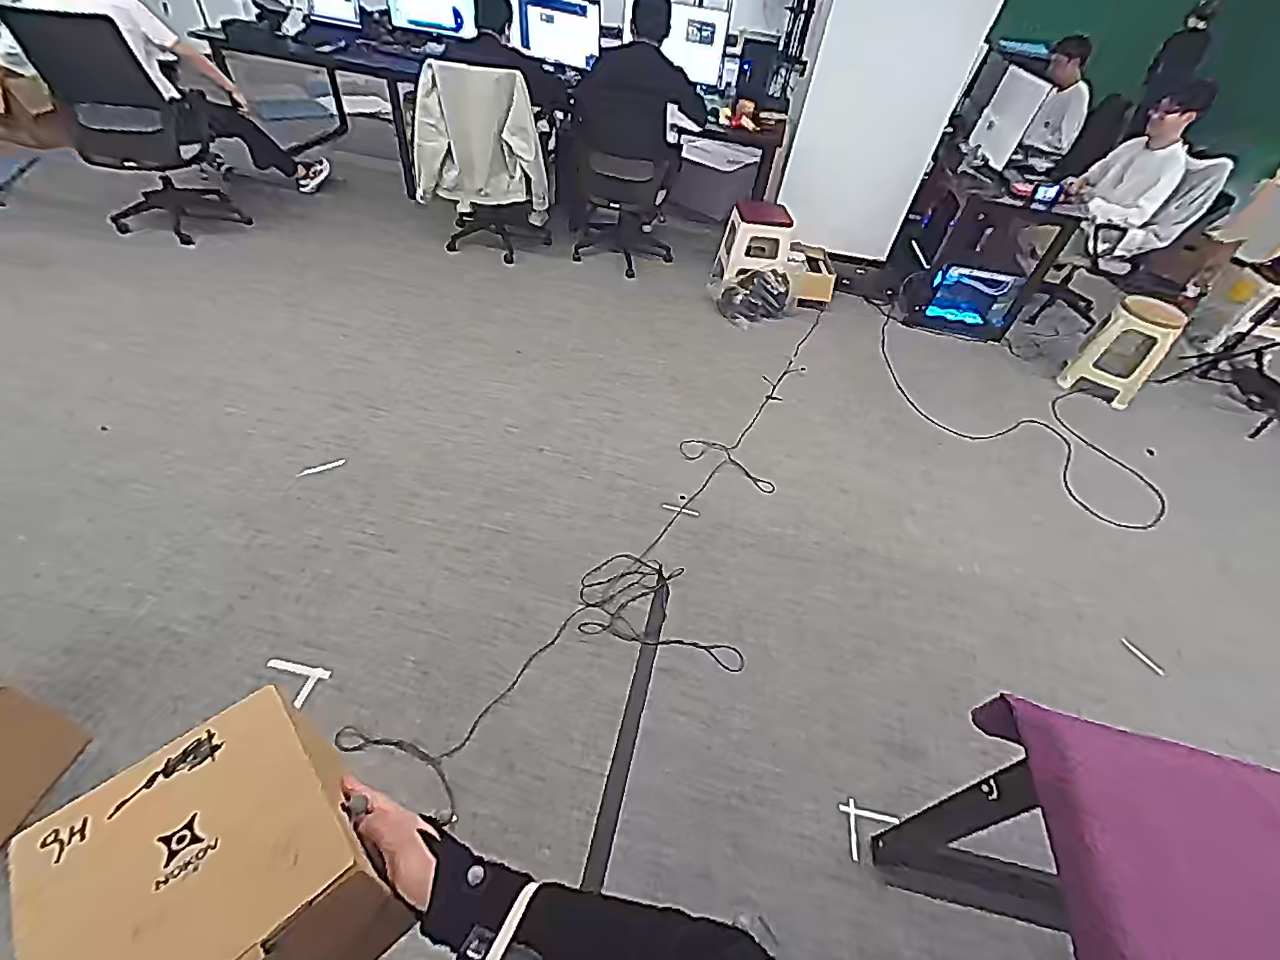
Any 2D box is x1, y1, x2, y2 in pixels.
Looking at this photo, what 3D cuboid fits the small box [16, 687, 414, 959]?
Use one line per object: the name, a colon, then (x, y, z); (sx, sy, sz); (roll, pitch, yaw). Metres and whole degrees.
small box: (-0.299, 0.305, 0.410); (0.168, 0.176, 0.179); (-32, 52, -32)
